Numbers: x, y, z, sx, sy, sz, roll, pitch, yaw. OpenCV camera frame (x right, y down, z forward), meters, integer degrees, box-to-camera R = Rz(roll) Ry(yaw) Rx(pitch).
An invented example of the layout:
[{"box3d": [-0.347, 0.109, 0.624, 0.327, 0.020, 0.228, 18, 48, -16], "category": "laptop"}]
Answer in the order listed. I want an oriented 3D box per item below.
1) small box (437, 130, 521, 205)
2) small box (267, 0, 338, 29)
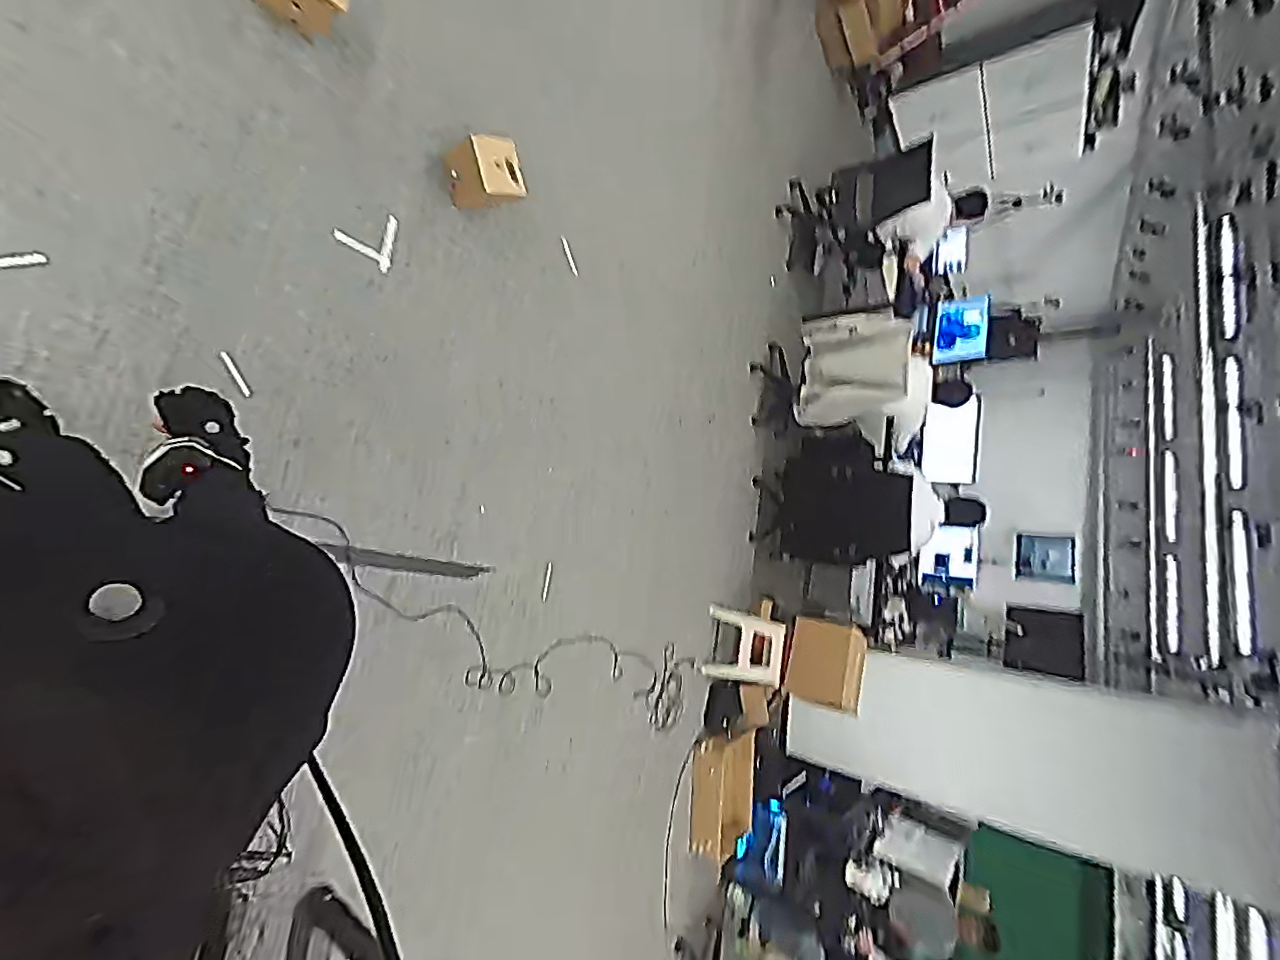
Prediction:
[{"box3d": [-0.526, -1.012, 1.766, 0.179, 0.176, 0.168, -31, 115, -48], "category": "small box"}, {"box3d": [-0.848, -1.268, 1.320, 0.168, 0.176, 0.179, 11, 83, -54], "category": "small box"}]
